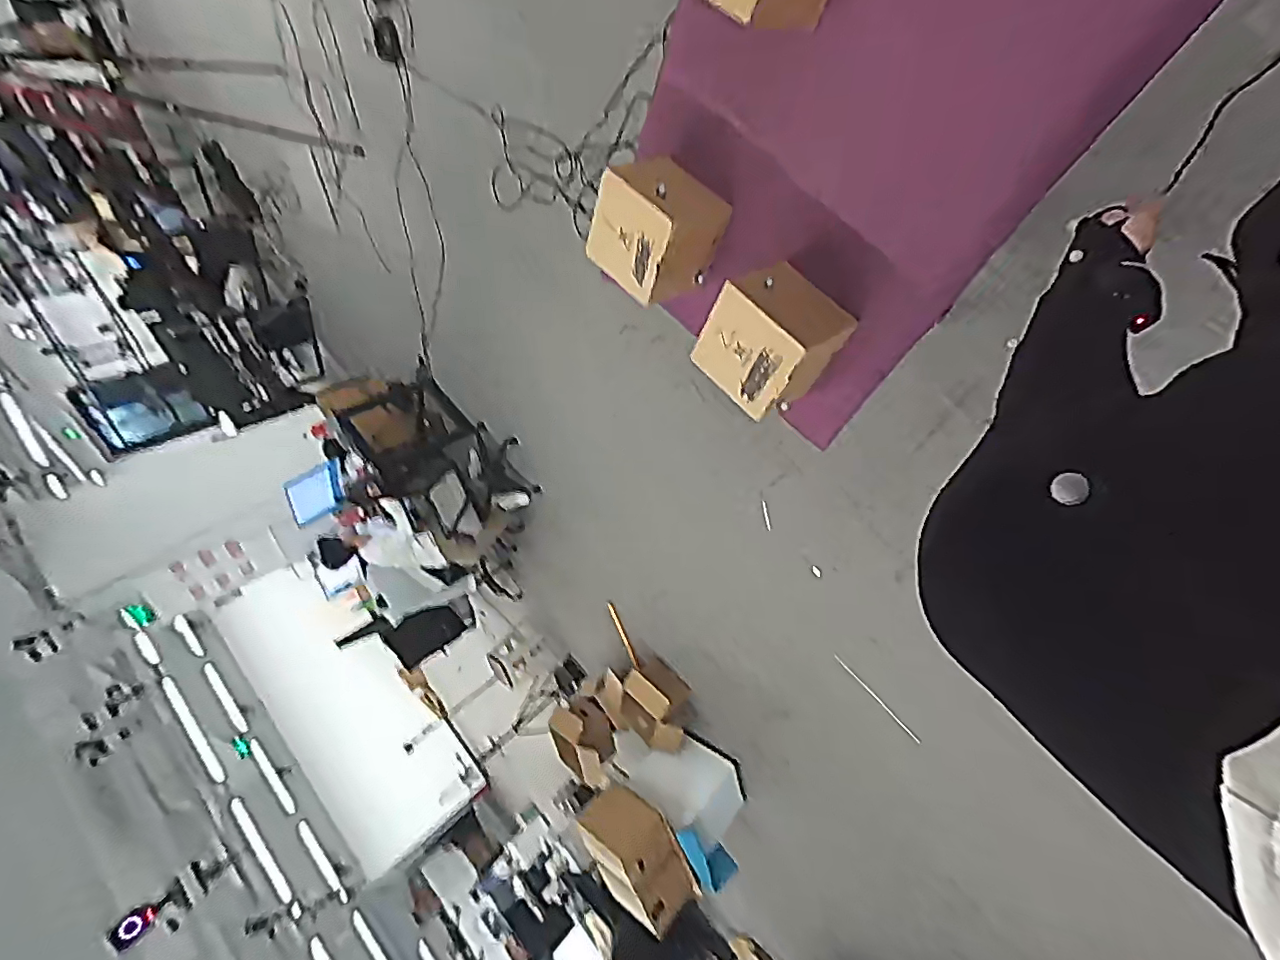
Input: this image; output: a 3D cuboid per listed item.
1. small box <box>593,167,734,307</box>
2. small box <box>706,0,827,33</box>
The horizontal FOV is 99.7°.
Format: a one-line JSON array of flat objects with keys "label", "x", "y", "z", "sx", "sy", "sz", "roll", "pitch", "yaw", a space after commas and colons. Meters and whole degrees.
[{"label": "small box", "x": 0.044, "y": -0.459, "z": 1.009, "sx": 0.179, "sy": 0.176, "sz": 0.168, "roll": 46, "pitch": 143, "yaw": 17}, {"label": "small box", "x": 0.163, "y": -0.704, "z": 0.684, "sx": 0.179, "sy": 0.176, "sz": 0.168, "roll": 46, "pitch": 143, "yaw": 16}]
